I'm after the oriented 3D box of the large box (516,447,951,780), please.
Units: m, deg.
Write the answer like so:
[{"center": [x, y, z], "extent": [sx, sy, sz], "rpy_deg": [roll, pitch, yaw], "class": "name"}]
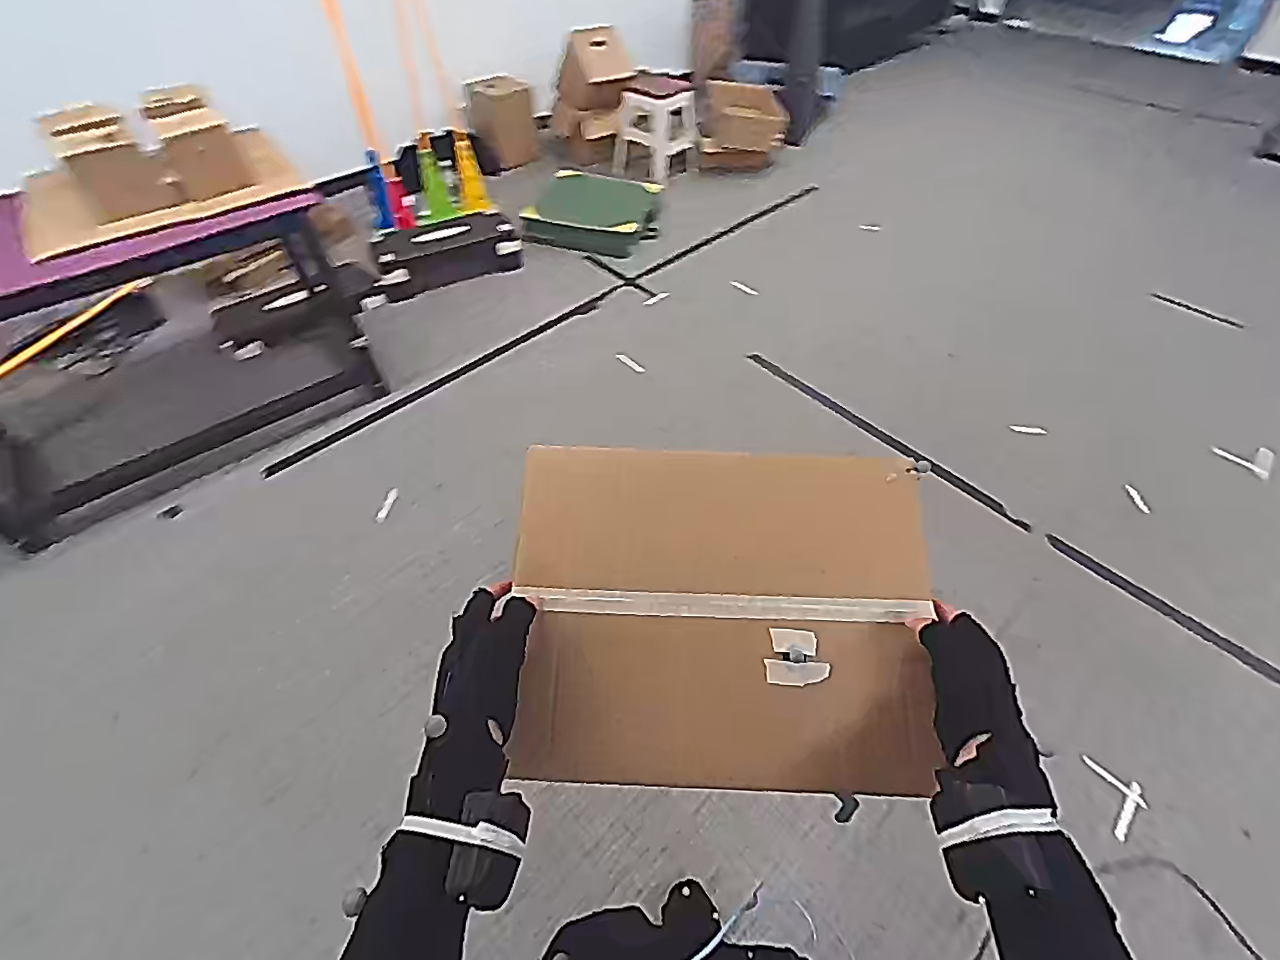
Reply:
[{"center": [0.088, 0.164, 0.675], "extent": [0.408, 0.320, 0.320], "rpy_deg": [3, 73, 1], "class": "large box"}]
